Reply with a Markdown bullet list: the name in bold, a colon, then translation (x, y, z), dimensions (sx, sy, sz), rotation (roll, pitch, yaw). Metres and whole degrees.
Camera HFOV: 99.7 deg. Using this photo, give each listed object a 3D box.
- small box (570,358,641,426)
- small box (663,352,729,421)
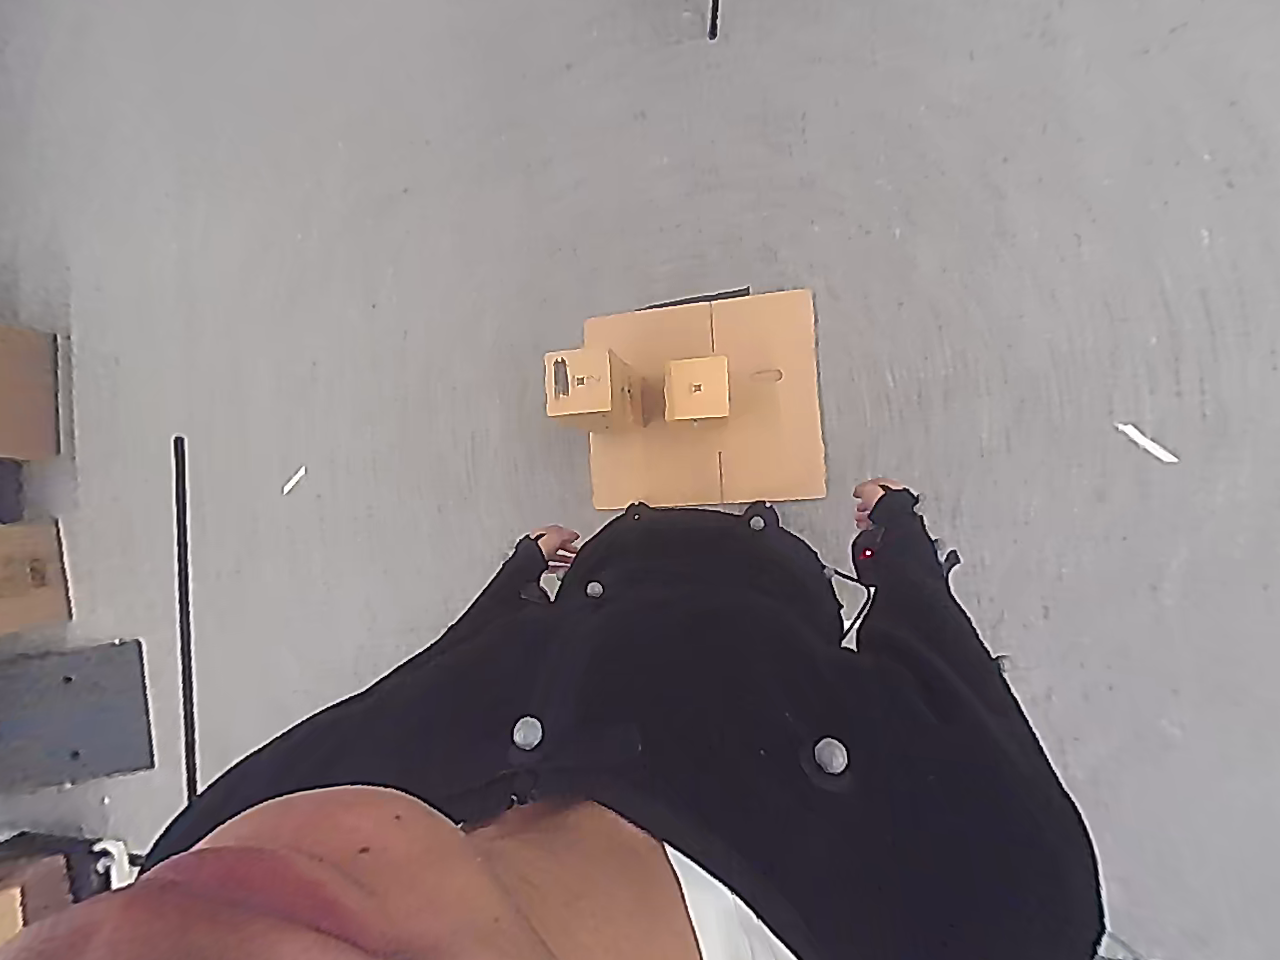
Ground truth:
- **small box**: translation (-0.095, -0.255, 1.599), dimensions (0.179, 0.176, 0.168), rotation (-3, 88, 14)
- **small box**: translation (0.165, -0.261, 1.544), dimensions (0.179, 0.176, 0.168), rotation (-2, 89, 13)
